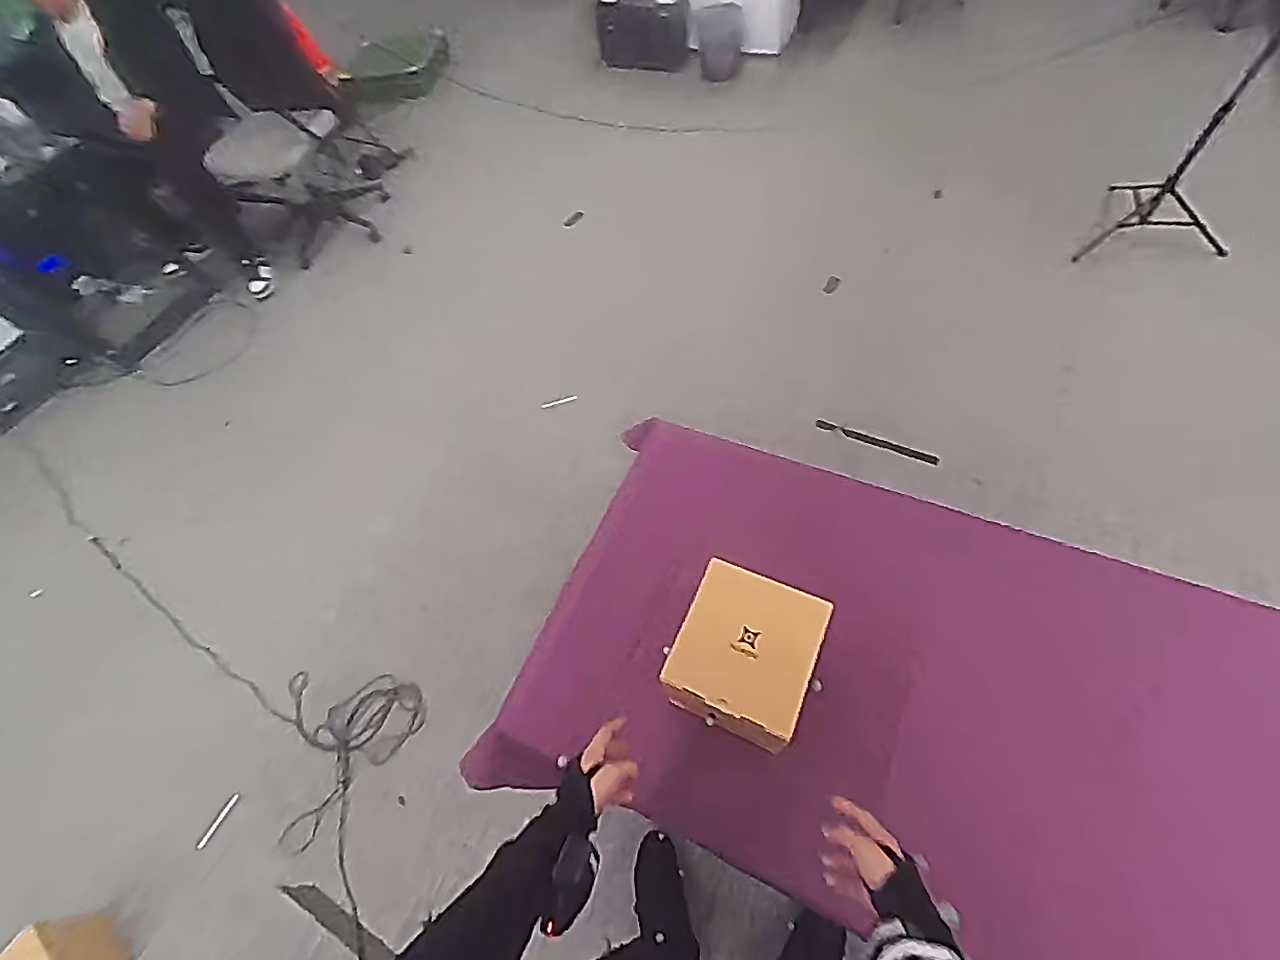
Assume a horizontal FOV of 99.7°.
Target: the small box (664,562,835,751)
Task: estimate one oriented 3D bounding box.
[{"bbox_3d":[0.146,0.245,0.738,0.168,0.176,0.179,20,65,19],"label":"small box"}]
